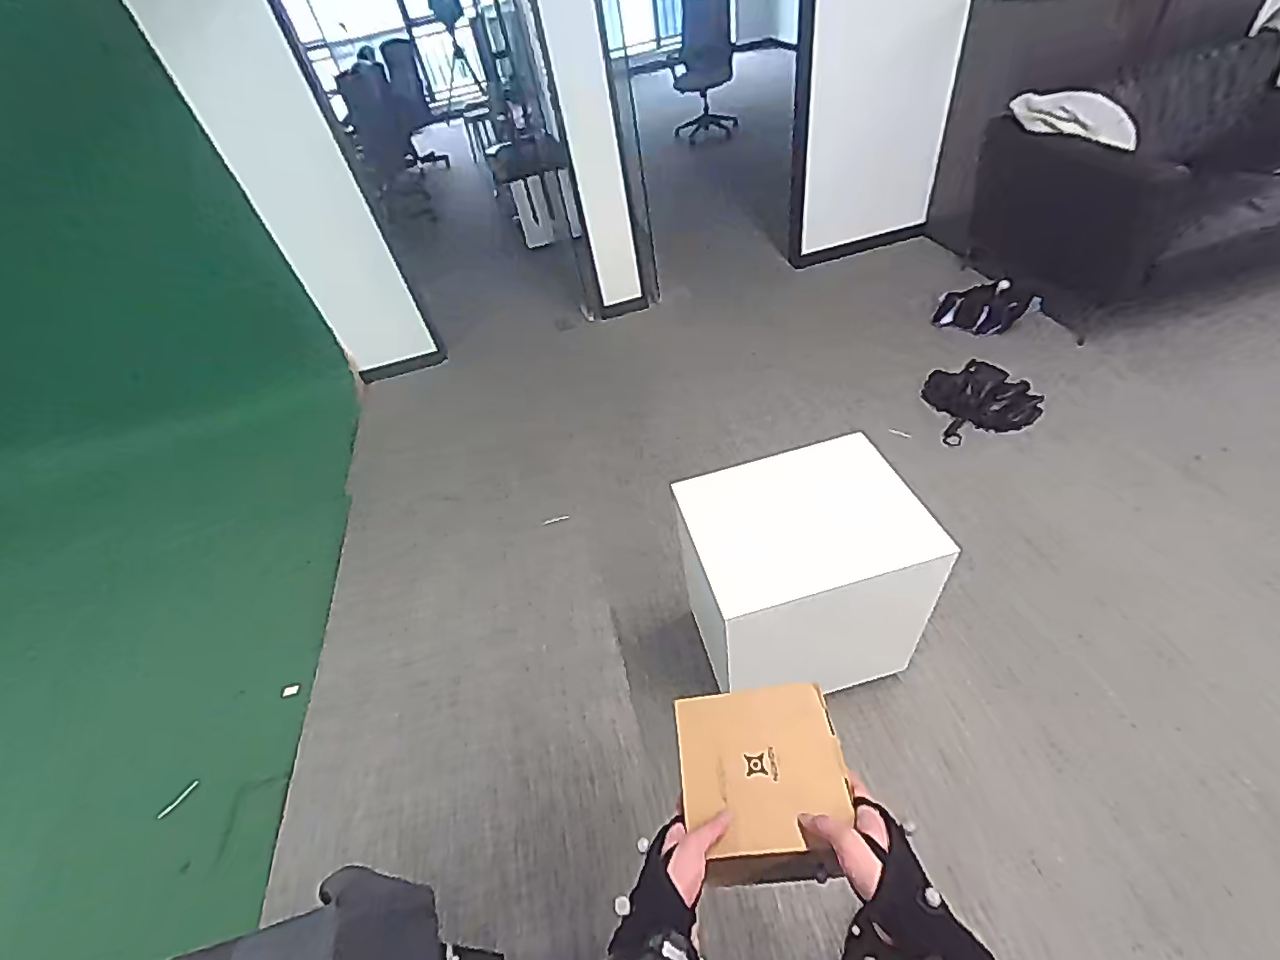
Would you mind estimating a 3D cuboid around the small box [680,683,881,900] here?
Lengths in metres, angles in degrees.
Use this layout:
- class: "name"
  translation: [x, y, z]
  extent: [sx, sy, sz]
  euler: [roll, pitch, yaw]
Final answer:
- class: "small box"
  translation: [0.149, 0.359, 0.622]
  extent: [0.179, 0.176, 0.168]
  euler: [-11, 42, 4]
